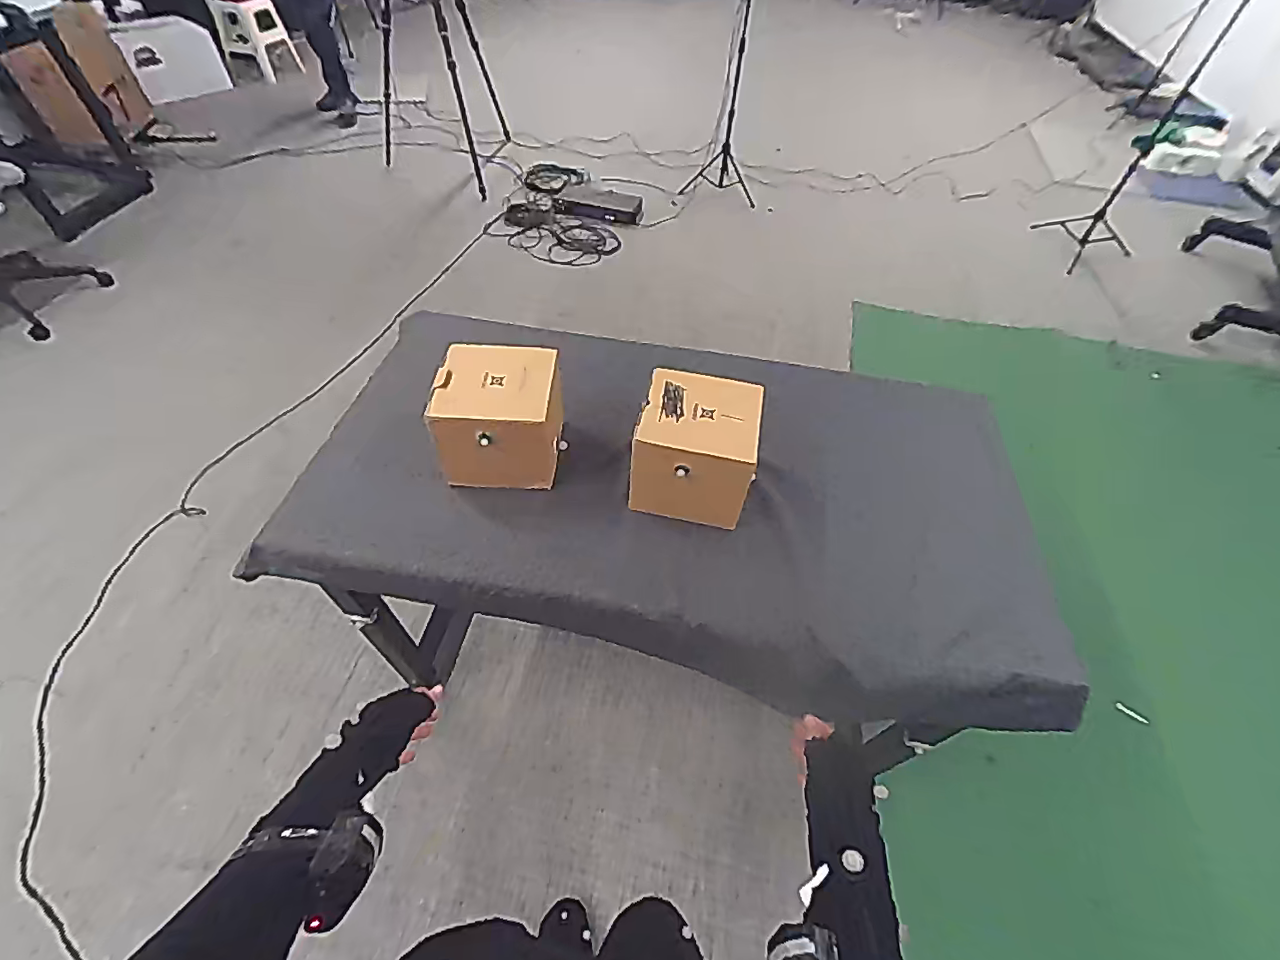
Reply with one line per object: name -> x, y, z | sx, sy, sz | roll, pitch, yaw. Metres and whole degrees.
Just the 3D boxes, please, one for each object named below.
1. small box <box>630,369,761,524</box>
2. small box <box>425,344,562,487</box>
small box -> 0.085, -0.050, 0.864 | 0.179, 0.176, 0.168 | 11, 52, 5
small box -> -0.227, -0.102, 0.889 | 0.179, 0.176, 0.168 | 3, 53, -3
